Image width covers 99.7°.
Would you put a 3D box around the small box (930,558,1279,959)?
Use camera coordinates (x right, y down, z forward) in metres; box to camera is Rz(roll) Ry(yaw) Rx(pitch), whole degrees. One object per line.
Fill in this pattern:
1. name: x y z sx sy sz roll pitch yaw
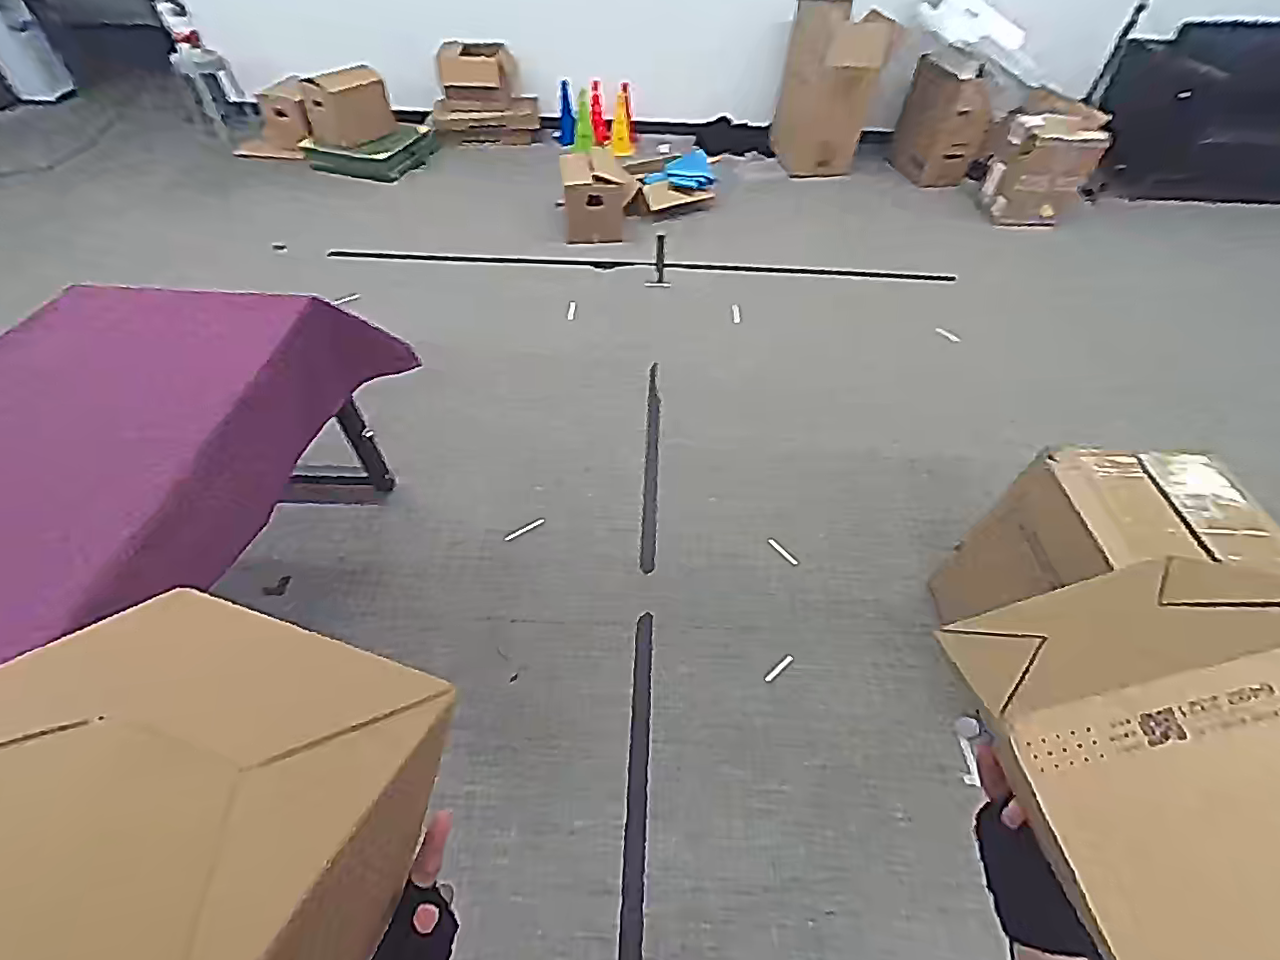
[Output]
1. small box: 0.295 0.153 0.310 0.168 0.179 0.176 -27 81 16

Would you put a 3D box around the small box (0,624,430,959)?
1. small box: -0.212 0.179 0.231 0.168 0.176 0.179 15 11 3
